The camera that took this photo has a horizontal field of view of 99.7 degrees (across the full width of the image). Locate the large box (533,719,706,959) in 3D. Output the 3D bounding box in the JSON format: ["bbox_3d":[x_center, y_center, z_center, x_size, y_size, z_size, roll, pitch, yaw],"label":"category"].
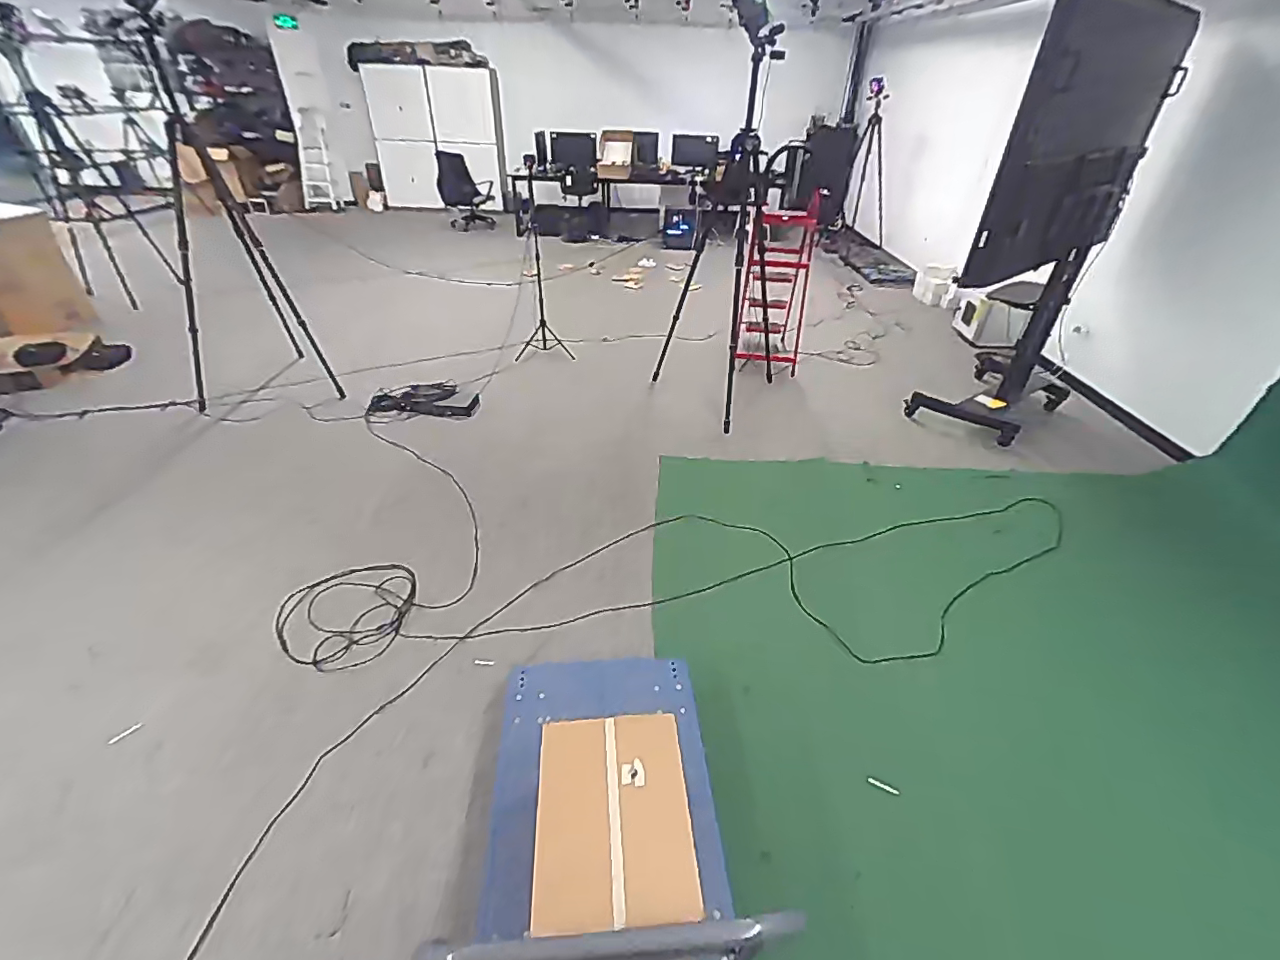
[{"bbox_3d":[-0.056,0.809,1.193,0.320,0.320,0.408,-1,34,-6],"label":"large box"}]
